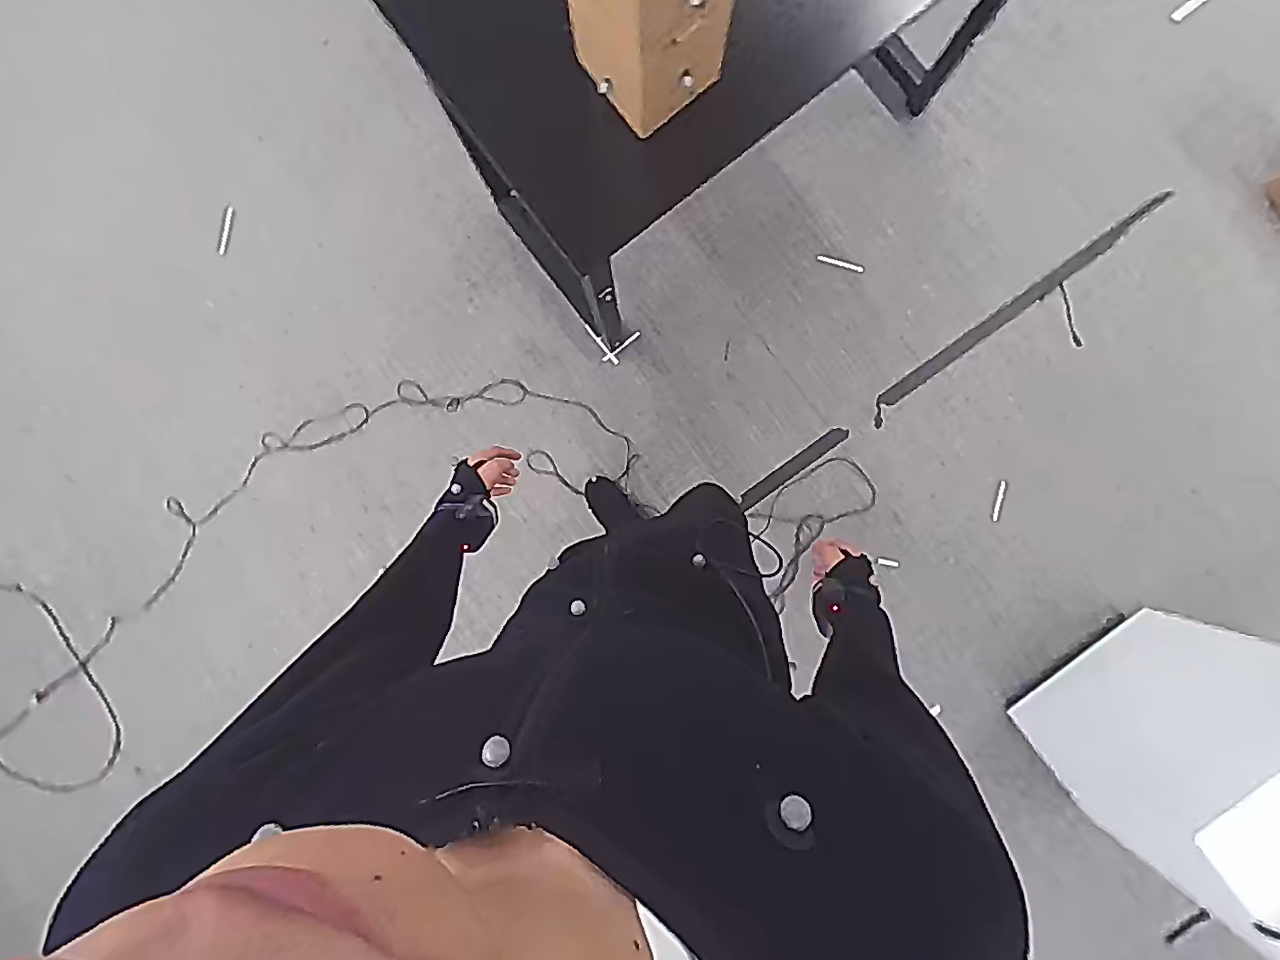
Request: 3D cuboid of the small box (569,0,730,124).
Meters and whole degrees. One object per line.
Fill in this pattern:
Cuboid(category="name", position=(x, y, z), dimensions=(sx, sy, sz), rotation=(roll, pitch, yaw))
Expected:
Cuboid(category="small box", position=(0.014, -0.680, 0.809), dimensions=(0.168, 0.176, 0.179), rotation=(-39, 91, 1))

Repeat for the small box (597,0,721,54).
Cuboid(category="small box", position=(0.010, -0.678, 0.645), dimensions=(0.168, 0.176, 0.179), rotation=(-38, 90, 2))
